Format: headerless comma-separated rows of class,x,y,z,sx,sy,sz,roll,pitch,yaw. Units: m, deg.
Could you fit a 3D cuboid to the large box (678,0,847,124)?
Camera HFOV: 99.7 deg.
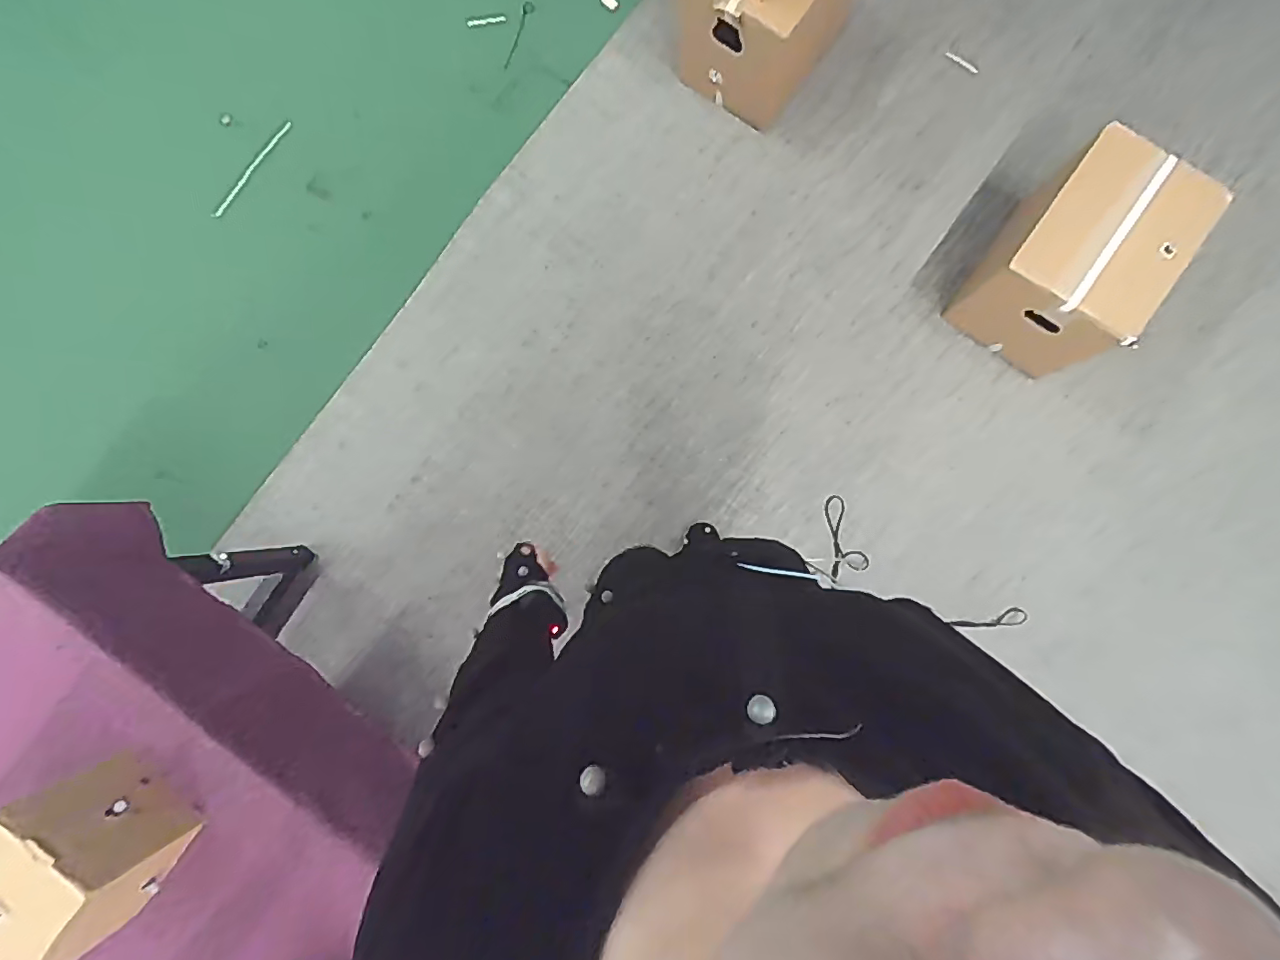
large box,0.334,-1.268,1.417,0.320,0.320,0.408,36,88,5

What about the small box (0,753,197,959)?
small box,-0.759,0.513,0.728,0.168,0.176,0.179,36,89,5
